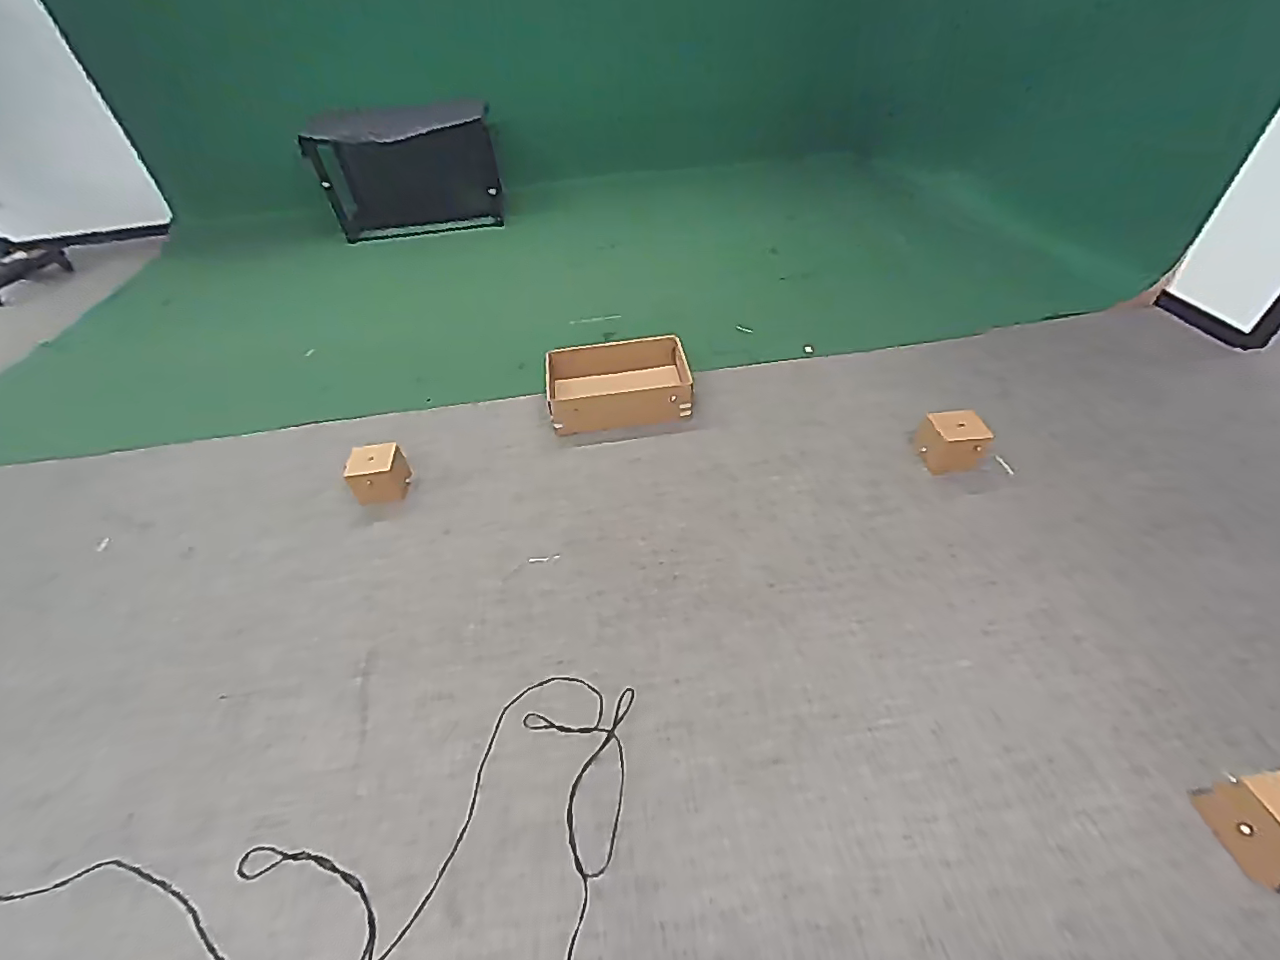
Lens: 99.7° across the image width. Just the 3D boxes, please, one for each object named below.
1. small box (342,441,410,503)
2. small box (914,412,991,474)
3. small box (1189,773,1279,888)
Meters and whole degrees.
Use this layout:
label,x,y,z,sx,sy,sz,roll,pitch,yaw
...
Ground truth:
label,x,y,z,sx,sy,sz,roll,pitch,yaw
small box,-1.032,-0.027,2.123,0.179,0.176,0.168,-8,46,-5
small box,1.173,-0.137,2.045,0.179,0.176,0.168,-4,44,1
small box,1.362,0.747,1.152,0.168,0.176,0.179,-7,44,-2
